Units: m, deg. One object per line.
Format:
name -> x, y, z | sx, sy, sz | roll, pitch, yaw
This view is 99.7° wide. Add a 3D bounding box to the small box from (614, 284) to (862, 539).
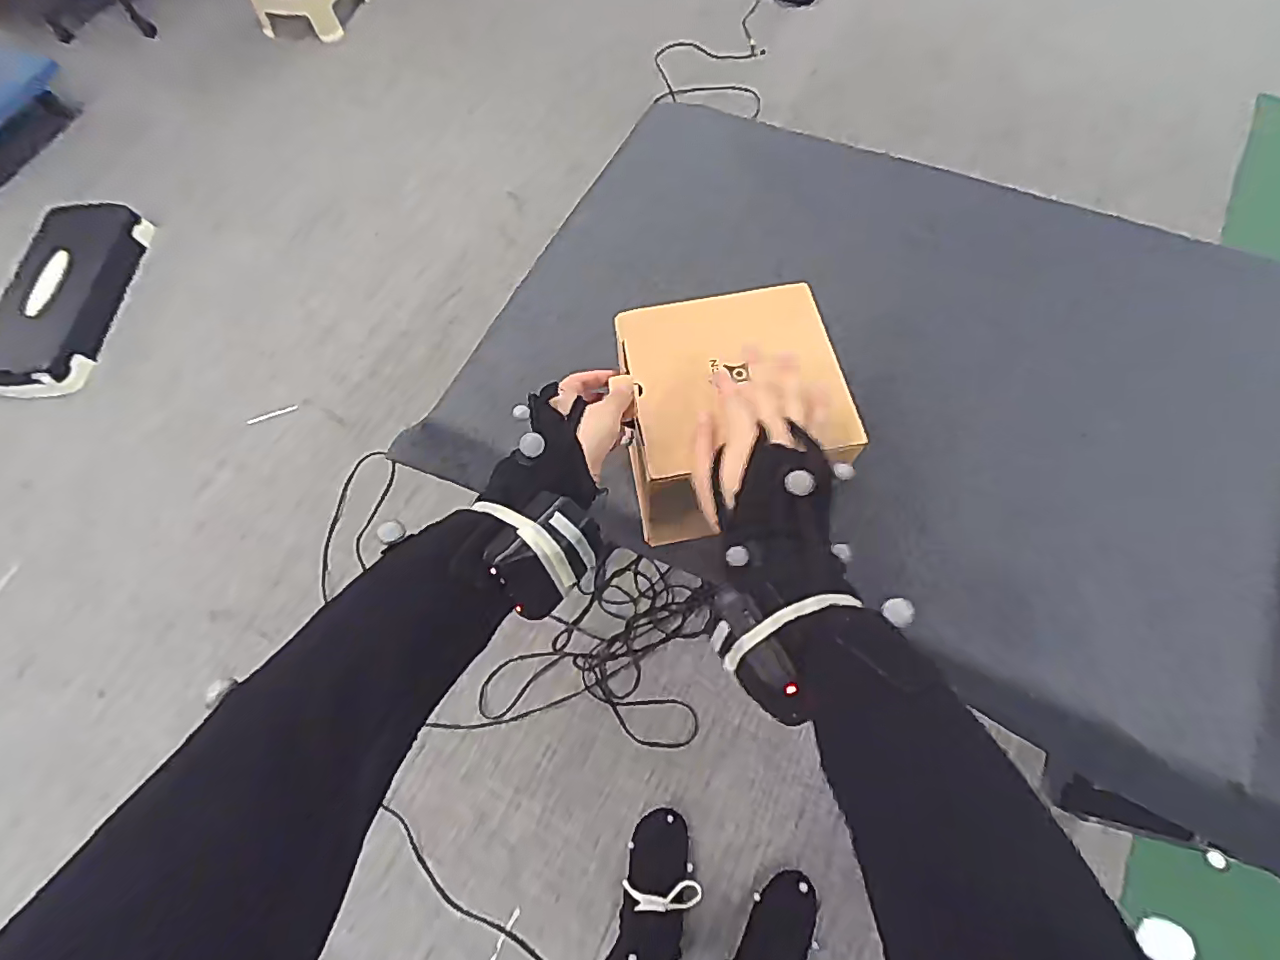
small box -> 0.076, -0.055, 0.517 | 0.179, 0.176, 0.168 | -10, 67, -2
